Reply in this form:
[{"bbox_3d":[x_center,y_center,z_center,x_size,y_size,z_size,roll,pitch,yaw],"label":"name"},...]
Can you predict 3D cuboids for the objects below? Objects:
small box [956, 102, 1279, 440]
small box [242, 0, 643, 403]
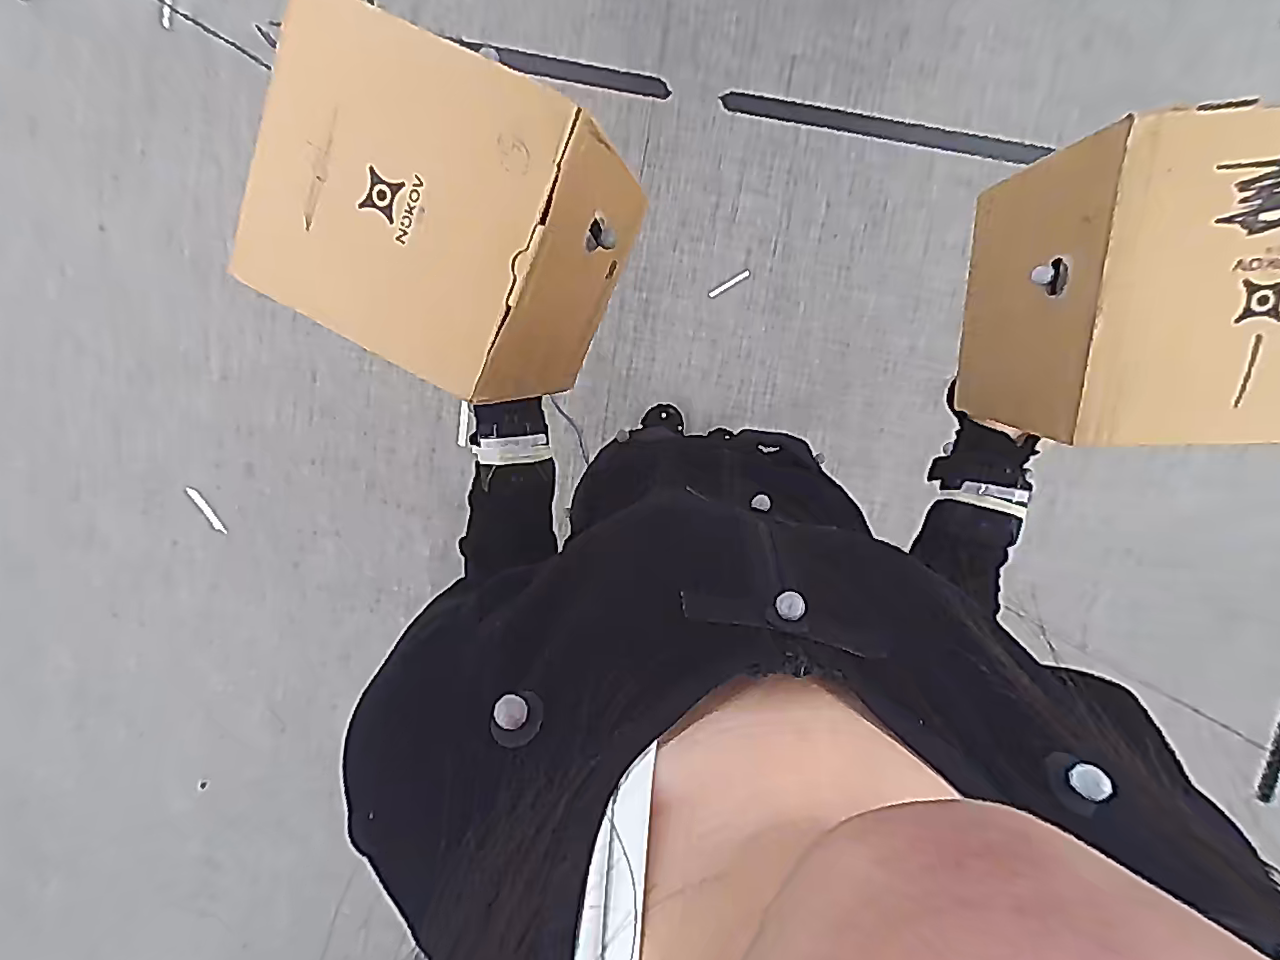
[{"bbox_3d":[0.343,-0.127,0.369,0.168,0.176,0.179,0,106,8],"label":"small box"},{"bbox_3d":[-0.116,-0.170,0.375,0.179,0.176,0.168,27,106,6],"label":"small box"}]
